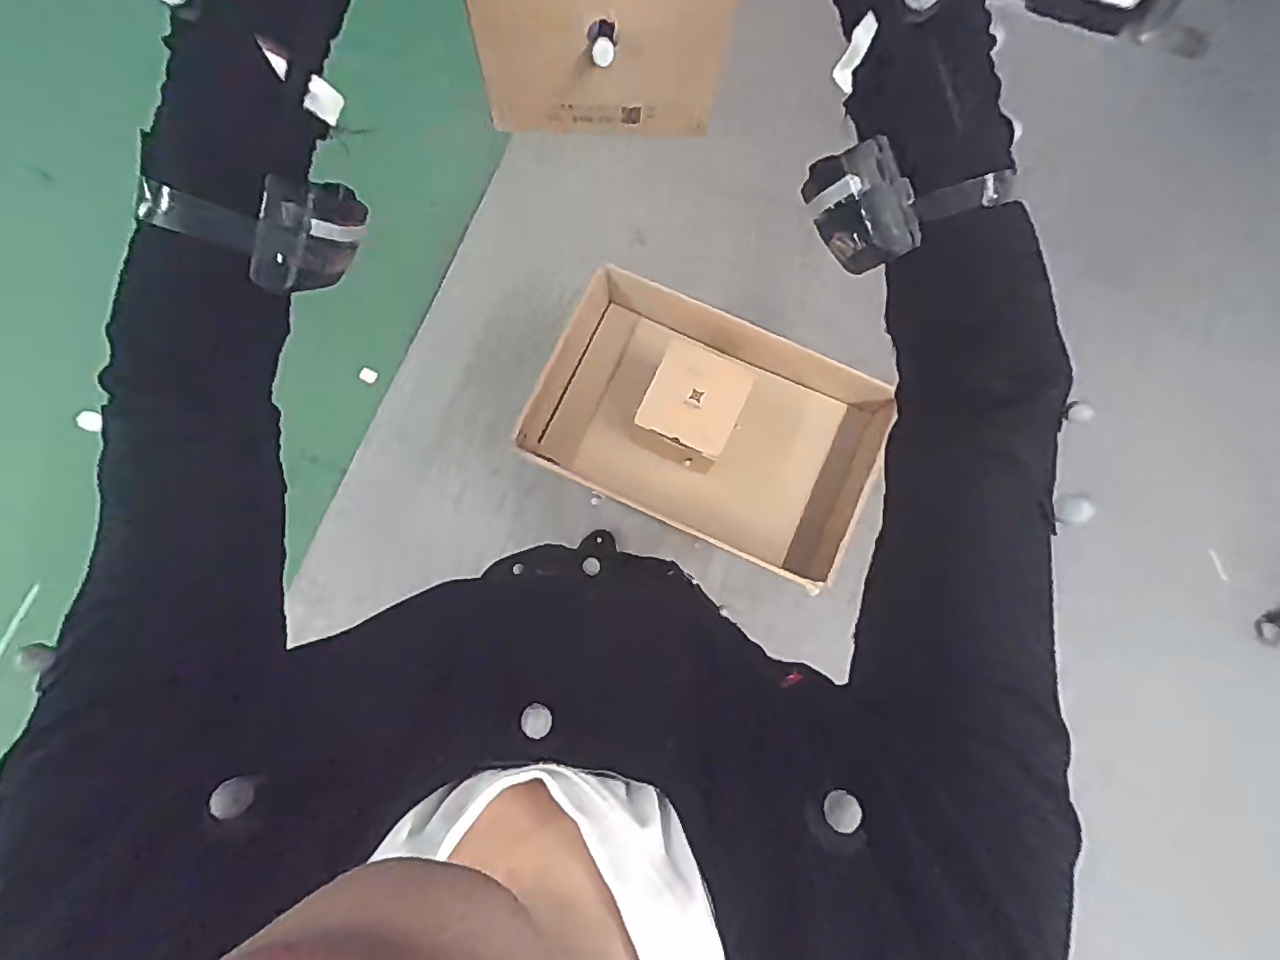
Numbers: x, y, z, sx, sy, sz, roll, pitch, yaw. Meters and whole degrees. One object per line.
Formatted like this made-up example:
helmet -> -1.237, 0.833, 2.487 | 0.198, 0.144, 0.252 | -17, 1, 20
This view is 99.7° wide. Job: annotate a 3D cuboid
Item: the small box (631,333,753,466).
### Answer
small box -> 0.092, -0.142, 1.028 | 0.168, 0.176, 0.179 | 25, 81, 1
